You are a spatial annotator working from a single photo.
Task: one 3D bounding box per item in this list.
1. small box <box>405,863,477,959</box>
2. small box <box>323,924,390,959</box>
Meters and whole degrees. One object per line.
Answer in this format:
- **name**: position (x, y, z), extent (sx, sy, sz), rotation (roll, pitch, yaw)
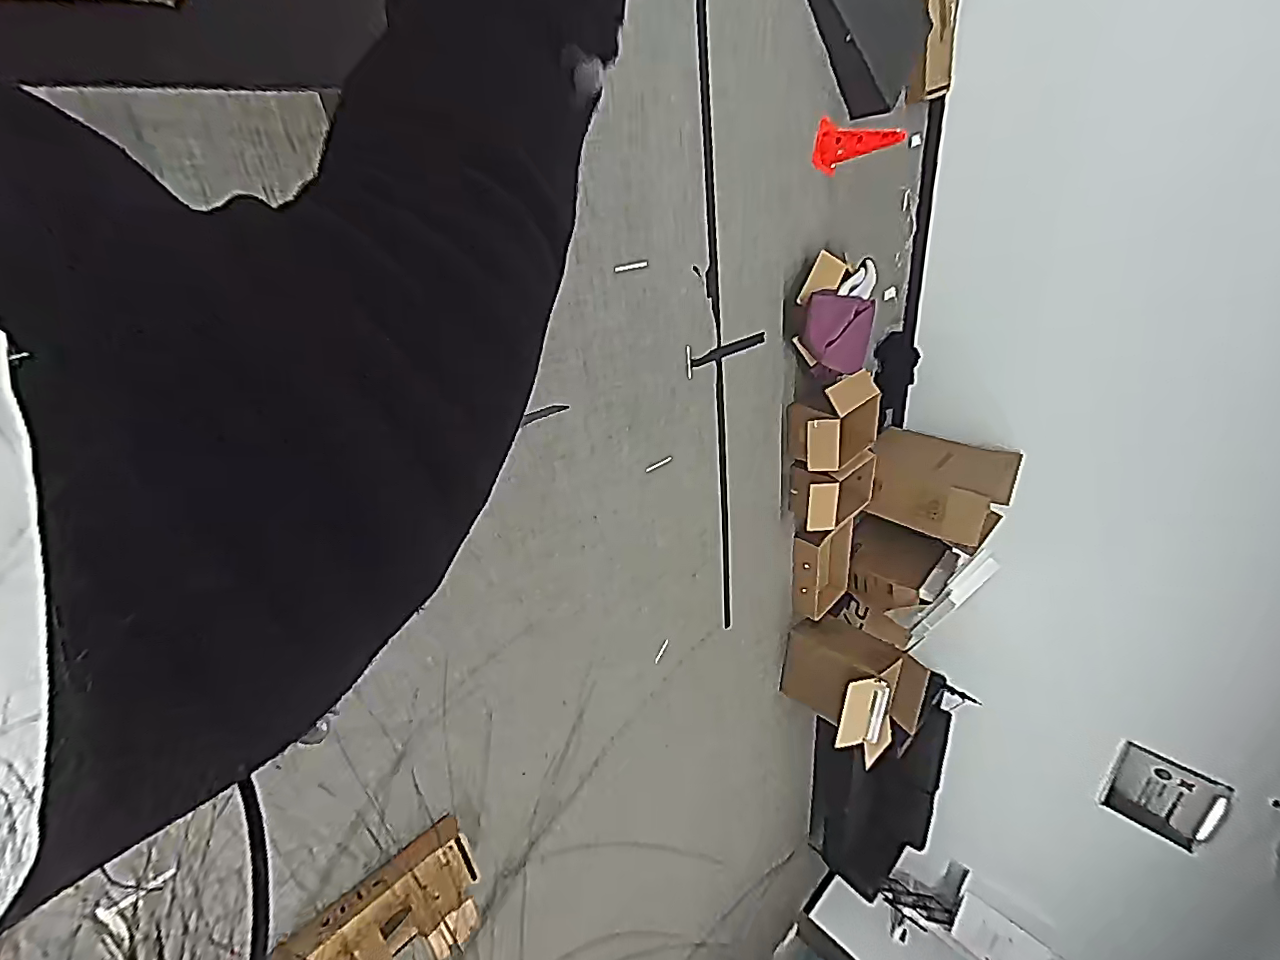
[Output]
- **small box**: position (-0.701, 1.498, 1.895), extent (0.168, 0.176, 0.179), rotation (-26, 123, -35)
- **small box**: position (-0.897, 1.598, 1.741), extent (0.168, 0.176, 0.179), rotation (-24, 122, -37)
